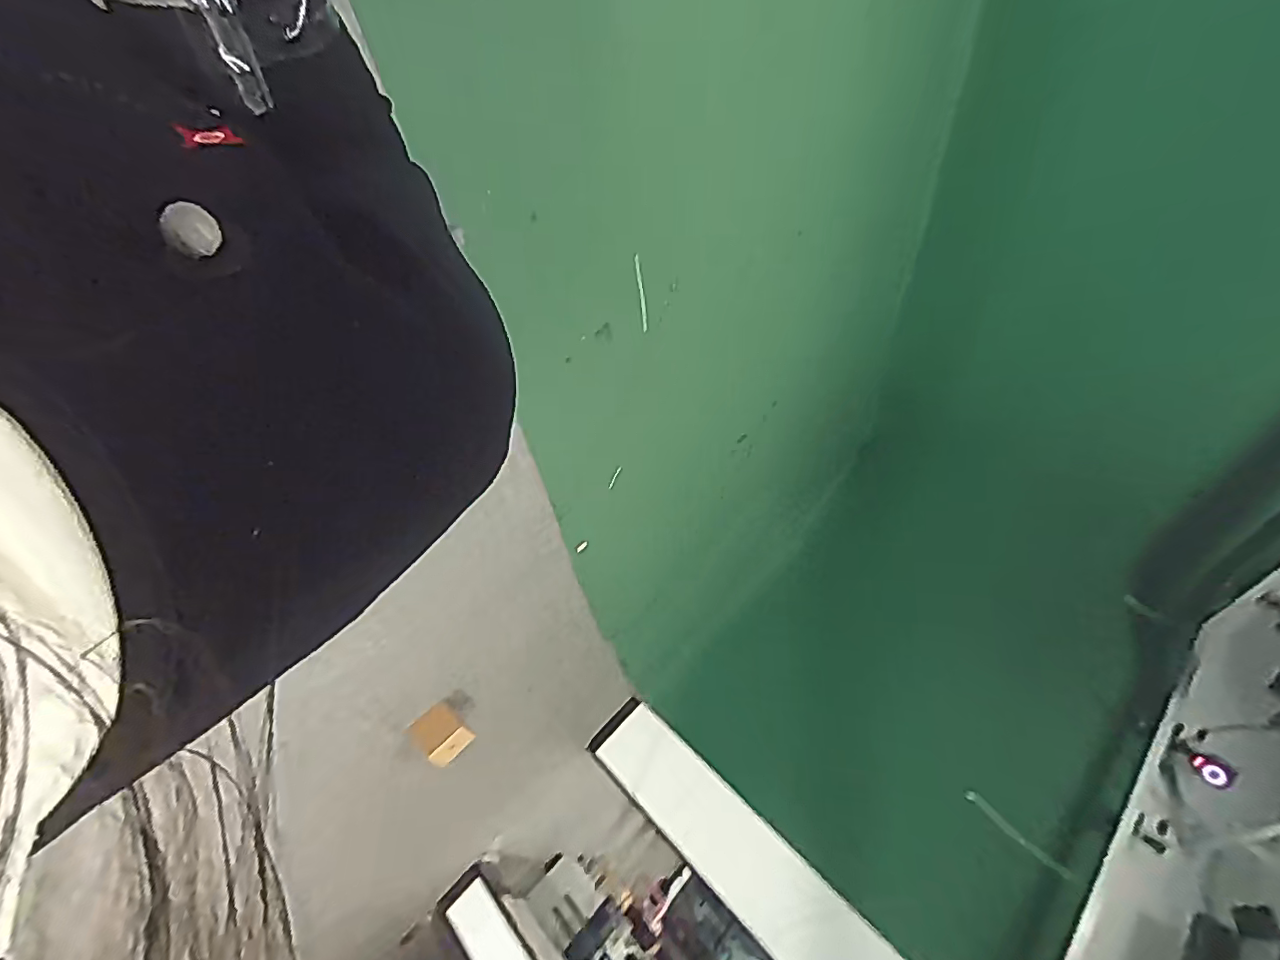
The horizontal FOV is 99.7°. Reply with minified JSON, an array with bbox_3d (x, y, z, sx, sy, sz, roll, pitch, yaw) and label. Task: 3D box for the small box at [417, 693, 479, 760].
[{"bbox_3d":[-0.842,1.071,2.353,0.179,0.176,0.168,-43,146,-22],"label":"small box"}]
